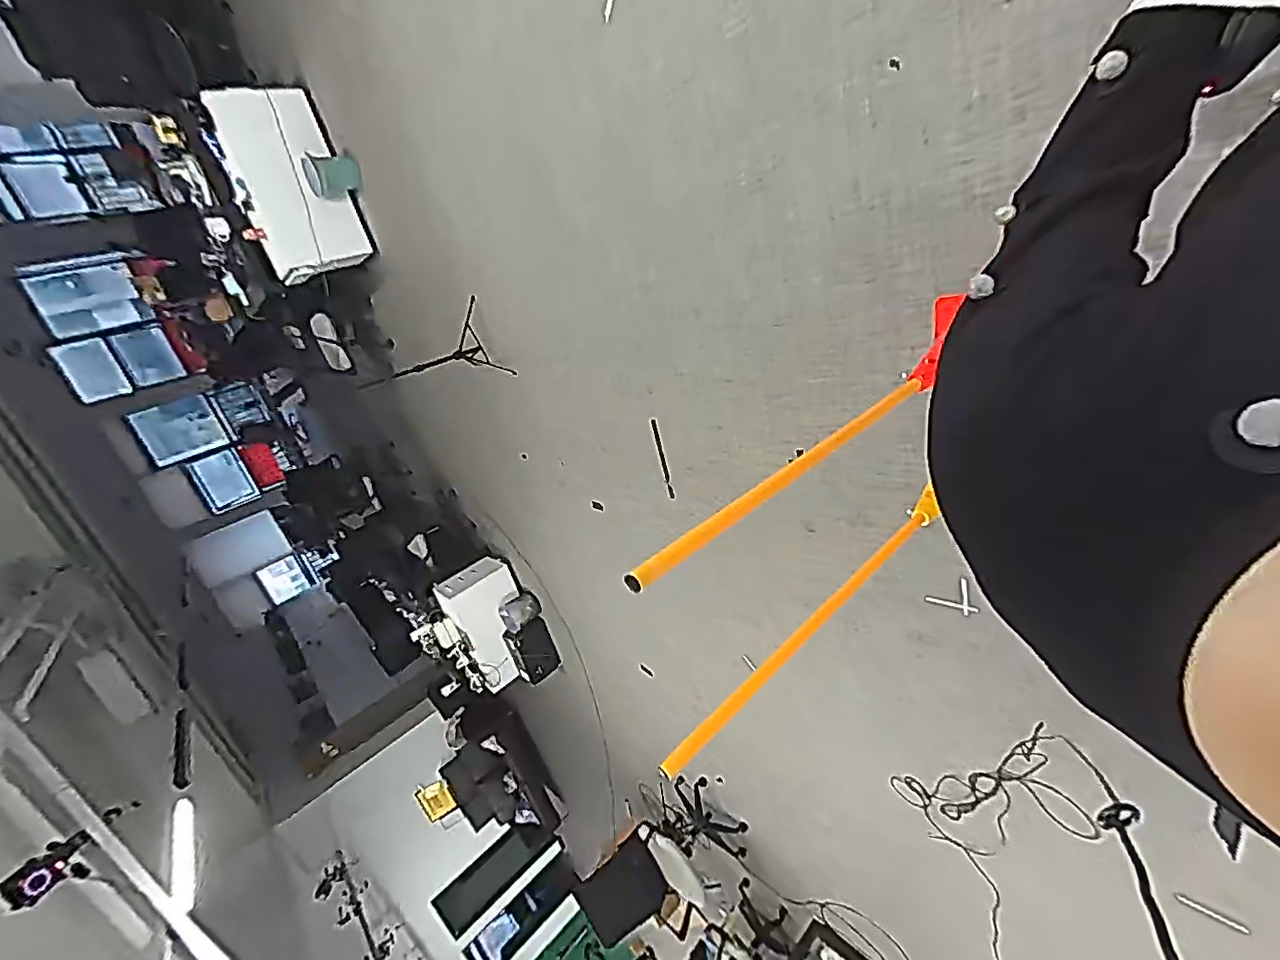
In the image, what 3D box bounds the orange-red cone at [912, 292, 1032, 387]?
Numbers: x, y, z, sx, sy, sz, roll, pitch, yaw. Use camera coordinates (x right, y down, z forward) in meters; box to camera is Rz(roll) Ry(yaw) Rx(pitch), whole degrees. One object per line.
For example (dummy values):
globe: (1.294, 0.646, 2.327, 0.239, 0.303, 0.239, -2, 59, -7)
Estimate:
orange-red cone: (0.708, -0.285, 1.223, 0.198, 0.360, 0.199, 18, 128, 44)
